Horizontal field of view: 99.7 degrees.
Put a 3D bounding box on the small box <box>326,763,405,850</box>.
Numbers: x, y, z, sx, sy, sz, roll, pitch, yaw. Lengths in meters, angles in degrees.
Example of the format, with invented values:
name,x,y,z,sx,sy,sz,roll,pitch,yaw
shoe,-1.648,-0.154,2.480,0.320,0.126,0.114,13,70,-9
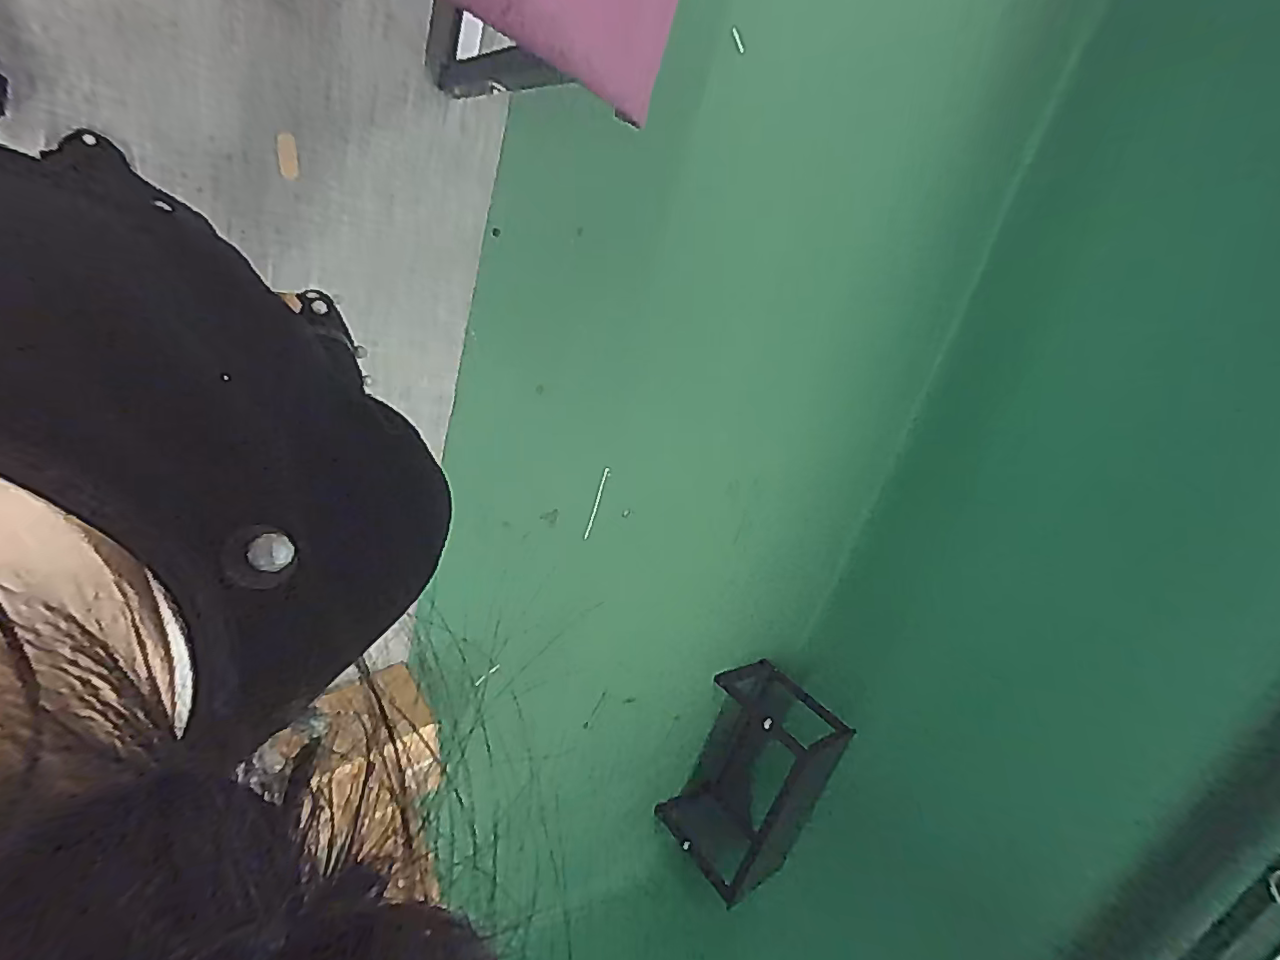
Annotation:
name,x,y,z,sx,sy,sz,roll,pitch,yaw
small box,-0.782,0.943,1.539,0.168,0.176,0.179,-10,120,-39

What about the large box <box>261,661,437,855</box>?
name,x,y,z,sx,sy,sz,roll,pitch,yaw
large box,-0.919,0.863,1.731,0.408,0.320,0.320,-17,126,-38

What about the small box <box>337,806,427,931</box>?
name,x,y,z,sx,sy,sz,roll,pitch,yaw
small box,-0.684,1.017,1.433,0.179,0.176,0.168,-8,120,-39
